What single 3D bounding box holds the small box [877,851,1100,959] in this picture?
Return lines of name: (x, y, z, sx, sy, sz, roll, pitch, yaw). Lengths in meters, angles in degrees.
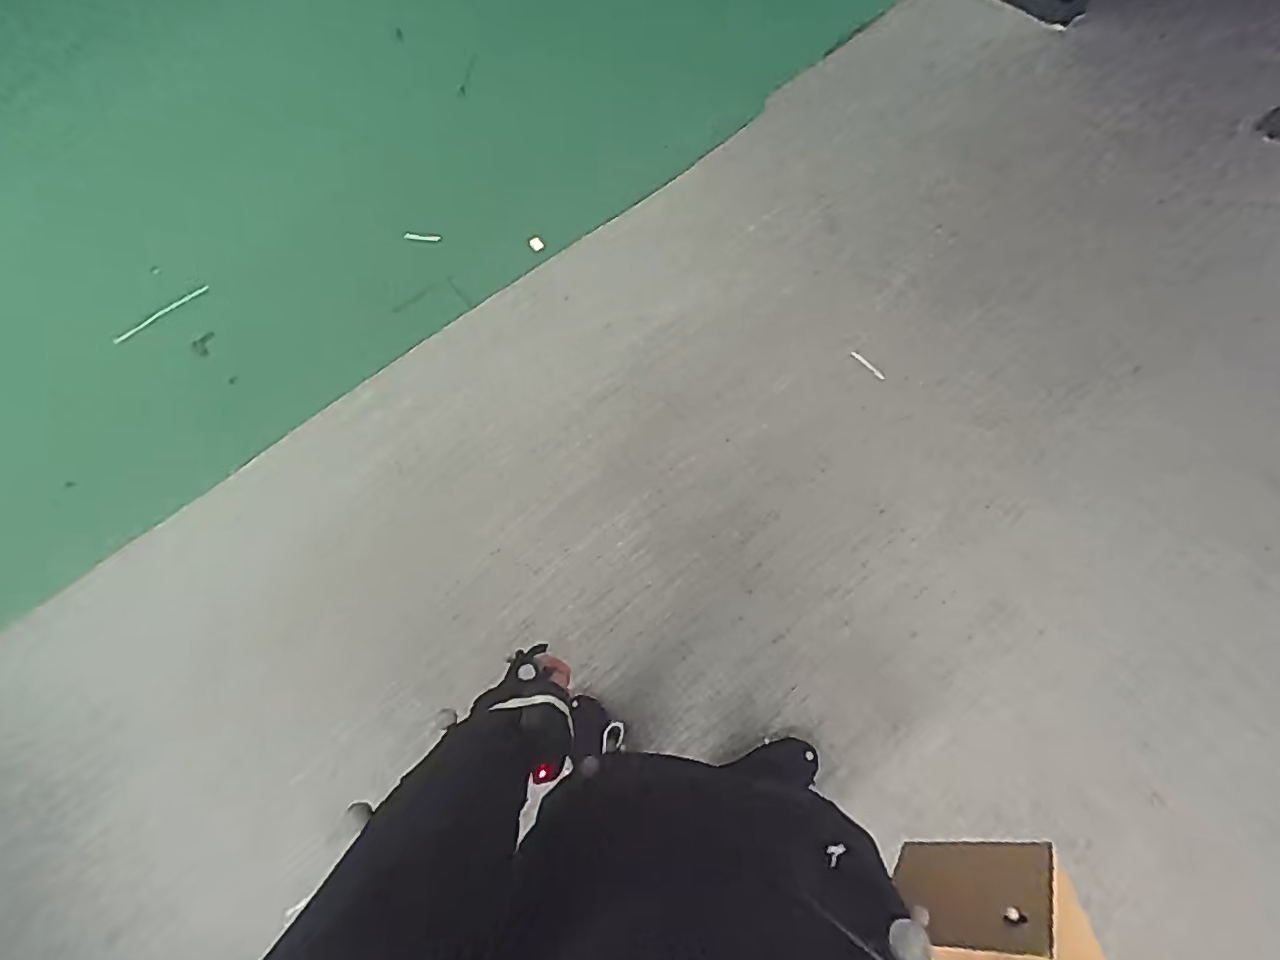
small box: (0.371, 0.518, 0.562, 0.176, 0.179, 0.168, -27, 77, 35)
